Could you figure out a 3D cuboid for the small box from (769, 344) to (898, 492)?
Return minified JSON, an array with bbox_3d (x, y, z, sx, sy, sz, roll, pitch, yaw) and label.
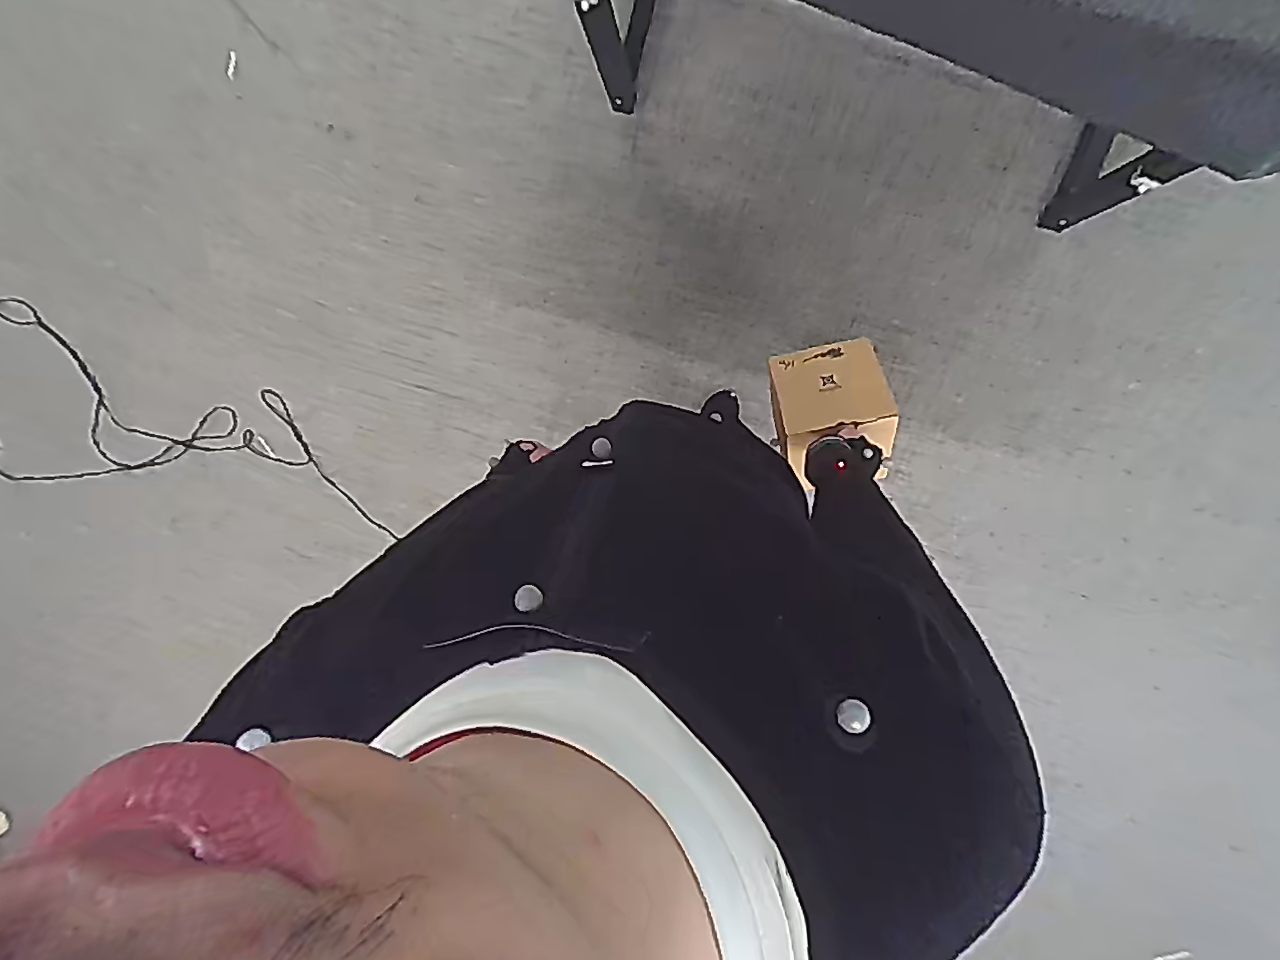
[{"bbox_3d":[0.326,-0.096,0.928,0.168,0.176,0.179,-13,53,11],"label":"small box"}]
